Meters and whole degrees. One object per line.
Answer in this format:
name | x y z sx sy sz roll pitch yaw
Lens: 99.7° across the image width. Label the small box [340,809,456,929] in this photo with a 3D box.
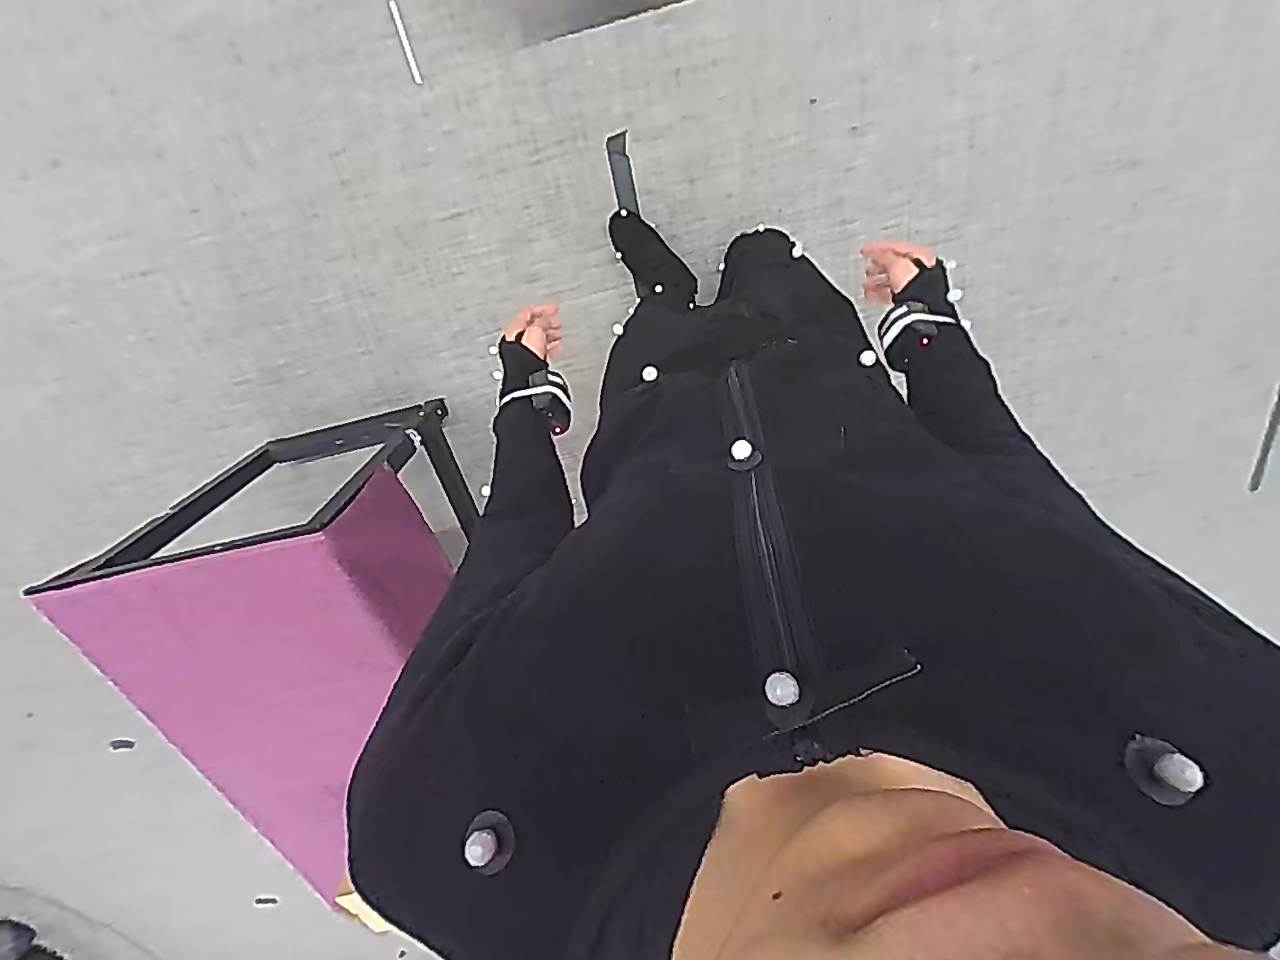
small box | -0.564 0.926 1.296 0.179 0.176 0.168 -20 115 9
